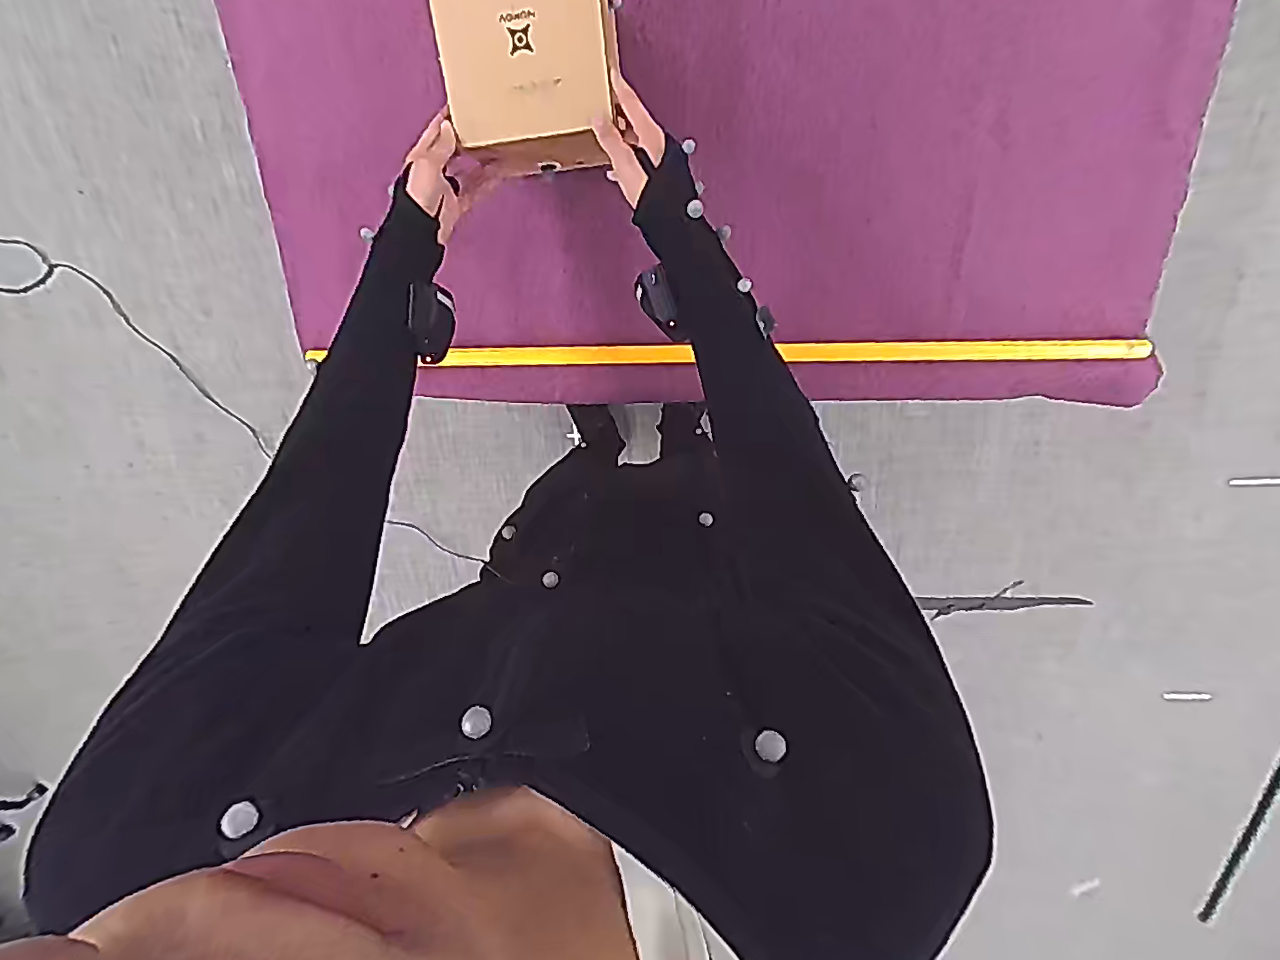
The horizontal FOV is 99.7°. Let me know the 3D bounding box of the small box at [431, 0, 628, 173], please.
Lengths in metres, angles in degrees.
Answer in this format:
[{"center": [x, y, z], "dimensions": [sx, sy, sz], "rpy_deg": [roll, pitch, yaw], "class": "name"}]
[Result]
[{"center": [-0.109, -0.458, 0.588], "dimensions": [0.168, 0.176, 0.179], "rpy_deg": [-4, 109, 7], "class": "small box"}]
